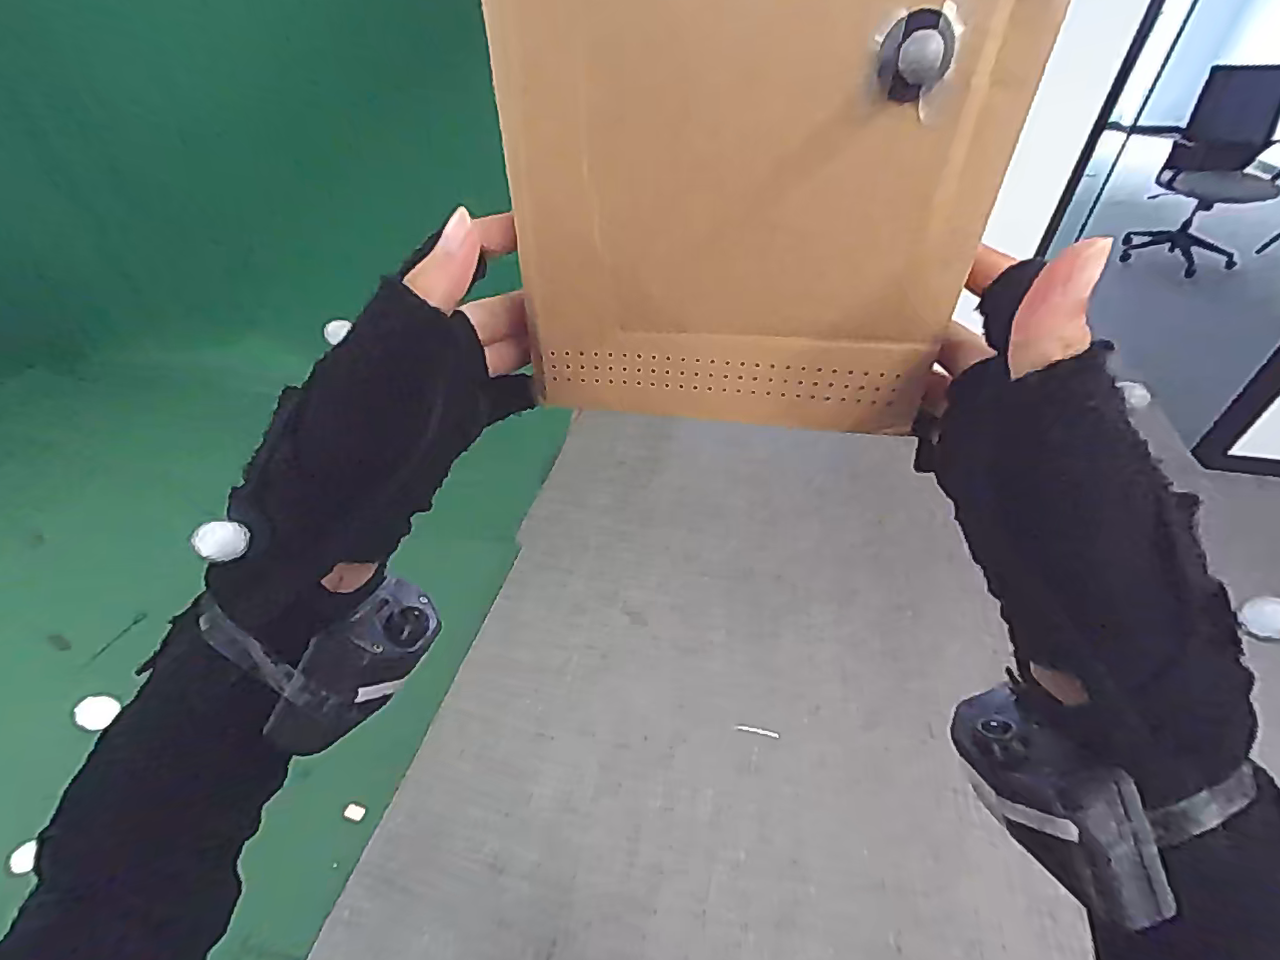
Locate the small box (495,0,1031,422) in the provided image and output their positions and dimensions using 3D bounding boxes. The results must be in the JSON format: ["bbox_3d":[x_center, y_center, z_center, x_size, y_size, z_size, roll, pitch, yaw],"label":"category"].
[{"bbox_3d":[0.045,-0.143,0.270,0.179,0.176,0.168,6,39,5],"label":"small box"}]
